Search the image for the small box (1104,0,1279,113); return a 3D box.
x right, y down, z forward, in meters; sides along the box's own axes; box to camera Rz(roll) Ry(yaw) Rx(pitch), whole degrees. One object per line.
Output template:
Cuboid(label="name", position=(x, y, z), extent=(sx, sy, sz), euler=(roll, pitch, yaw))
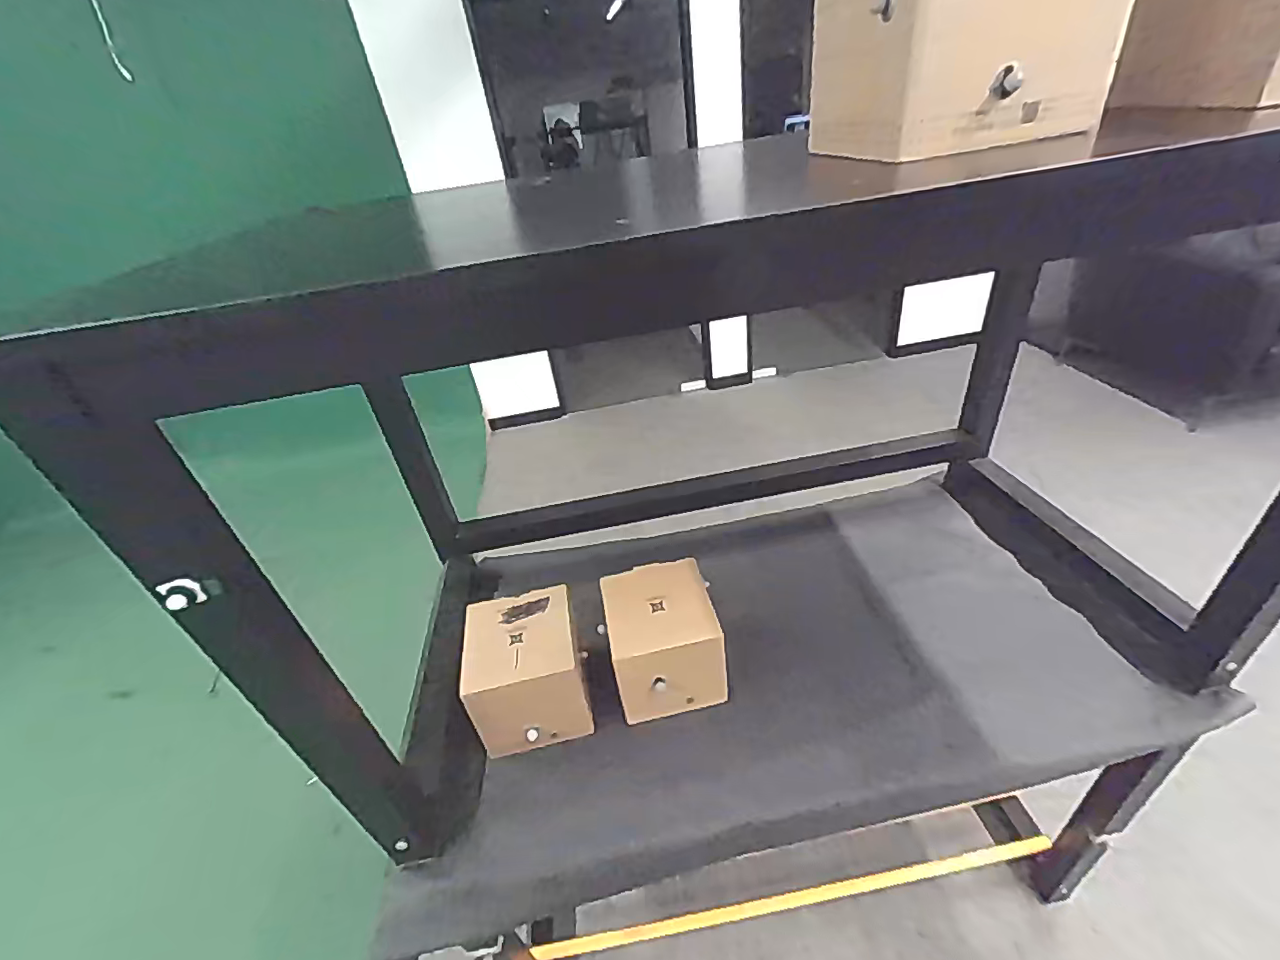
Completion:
Cuboid(label="small box", position=(0.526, -0.401, 0.422), extent=(0.168, 0.176, 0.179), euler=(-5, 33, 6))

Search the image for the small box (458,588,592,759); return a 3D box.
Cuboid(label="small box", position=(-0.177, 0.306, 0.867), extent=(0.168, 0.176, 0.179), euler=(-12, 34, -4))
